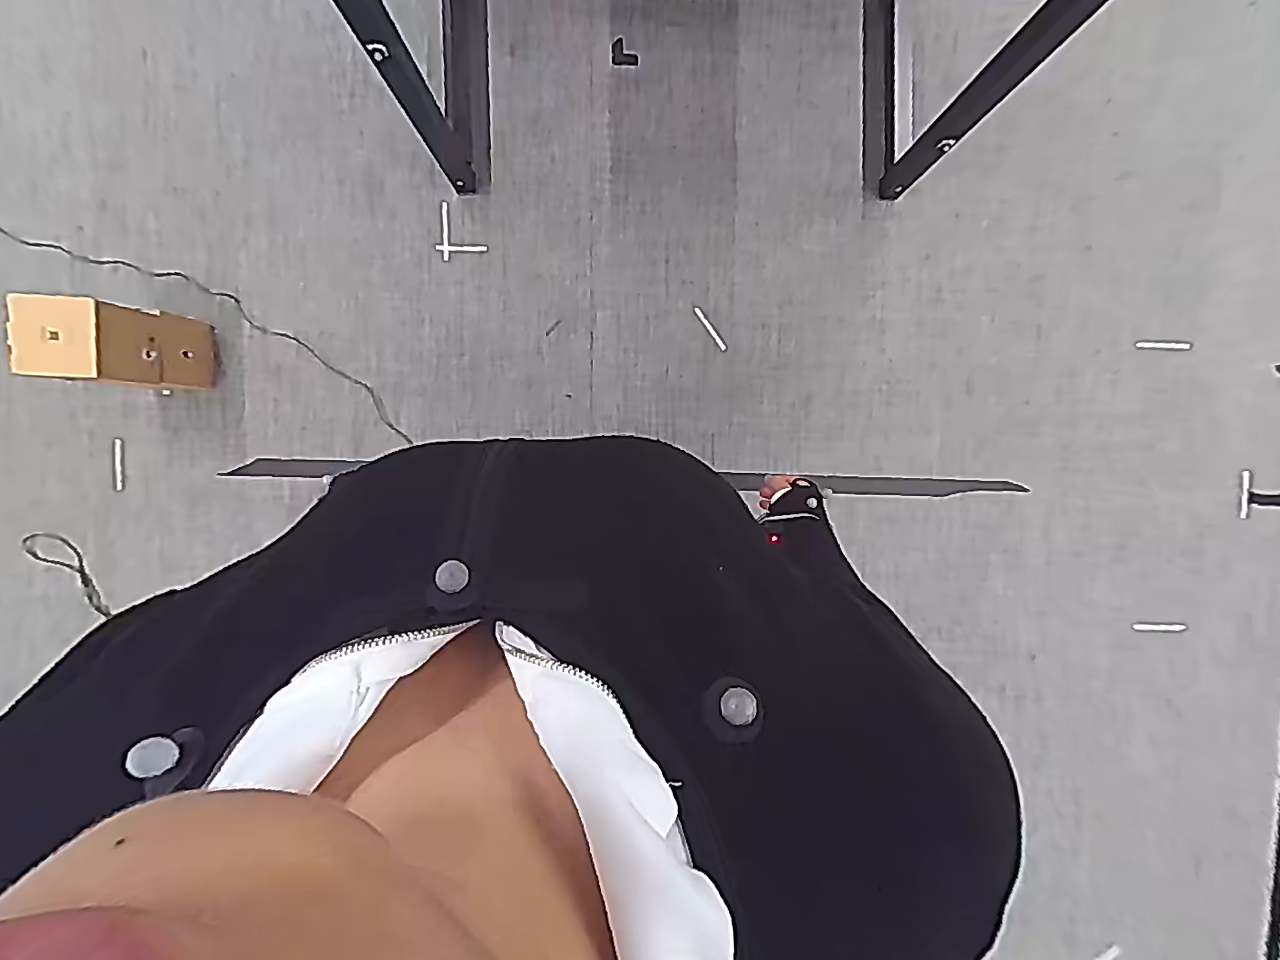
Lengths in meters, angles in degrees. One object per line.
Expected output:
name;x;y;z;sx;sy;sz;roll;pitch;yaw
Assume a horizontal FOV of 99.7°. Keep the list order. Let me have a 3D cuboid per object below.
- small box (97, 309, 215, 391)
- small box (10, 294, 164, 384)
small box;-1.209;-0.320;1.355;0.168;0.176;0.179;0;94;-2
small box;-1.208;-0.304;1.193;0.179;0.176;0.168;2;95;-3
